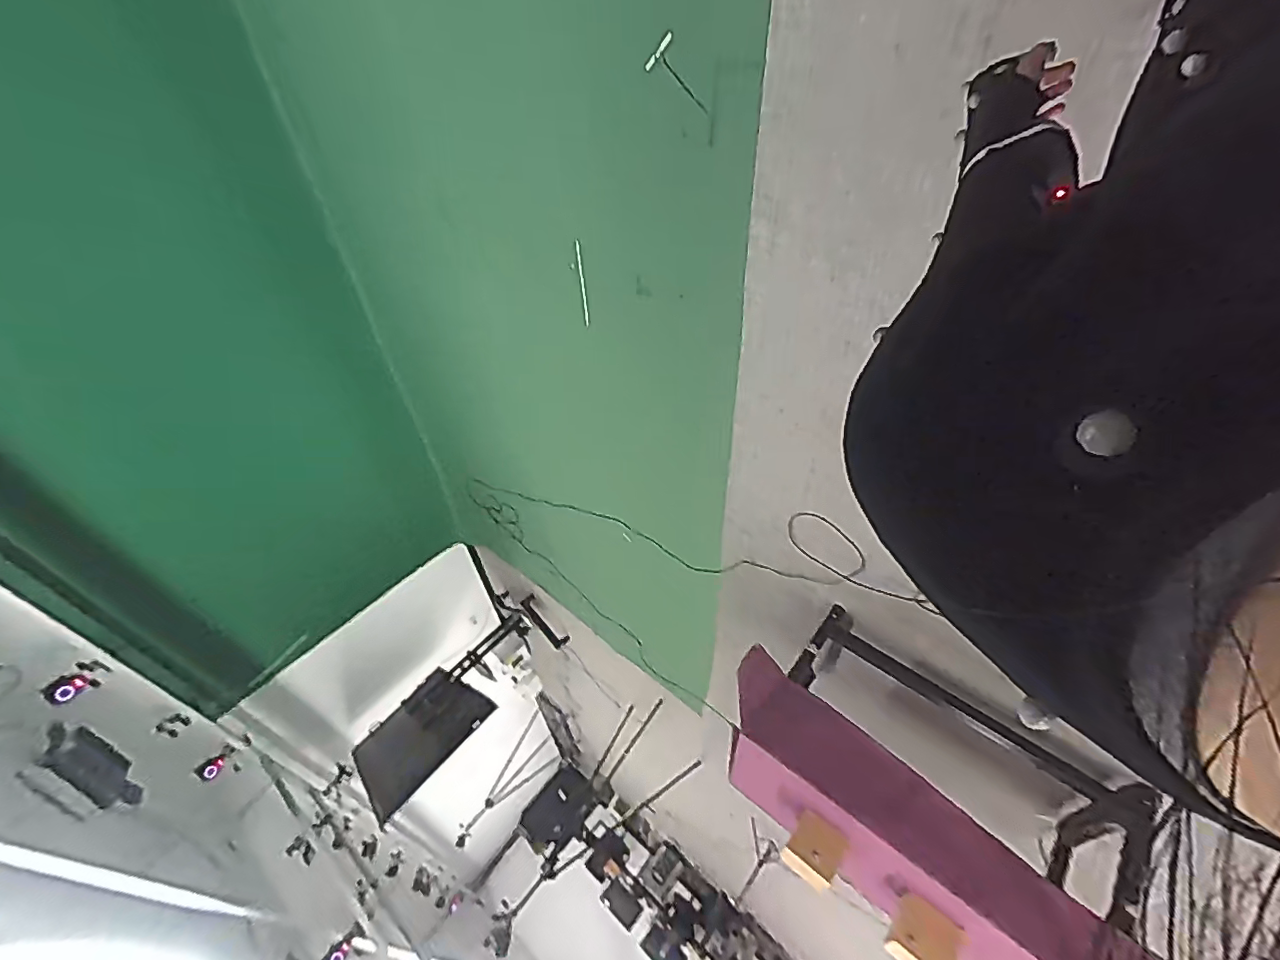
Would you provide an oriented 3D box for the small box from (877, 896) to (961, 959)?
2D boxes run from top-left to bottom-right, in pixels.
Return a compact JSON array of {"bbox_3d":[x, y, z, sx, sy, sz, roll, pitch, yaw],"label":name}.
[{"bbox_3d":[0.915,1.521,1.770,0.179,0.176,0.168,30,143,31],"label":"small box"}]

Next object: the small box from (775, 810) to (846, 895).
[{"bbox_3d":[0.617,1.345,1.955,0.179,0.176,0.168,31,143,29],"label":"small box"}]
